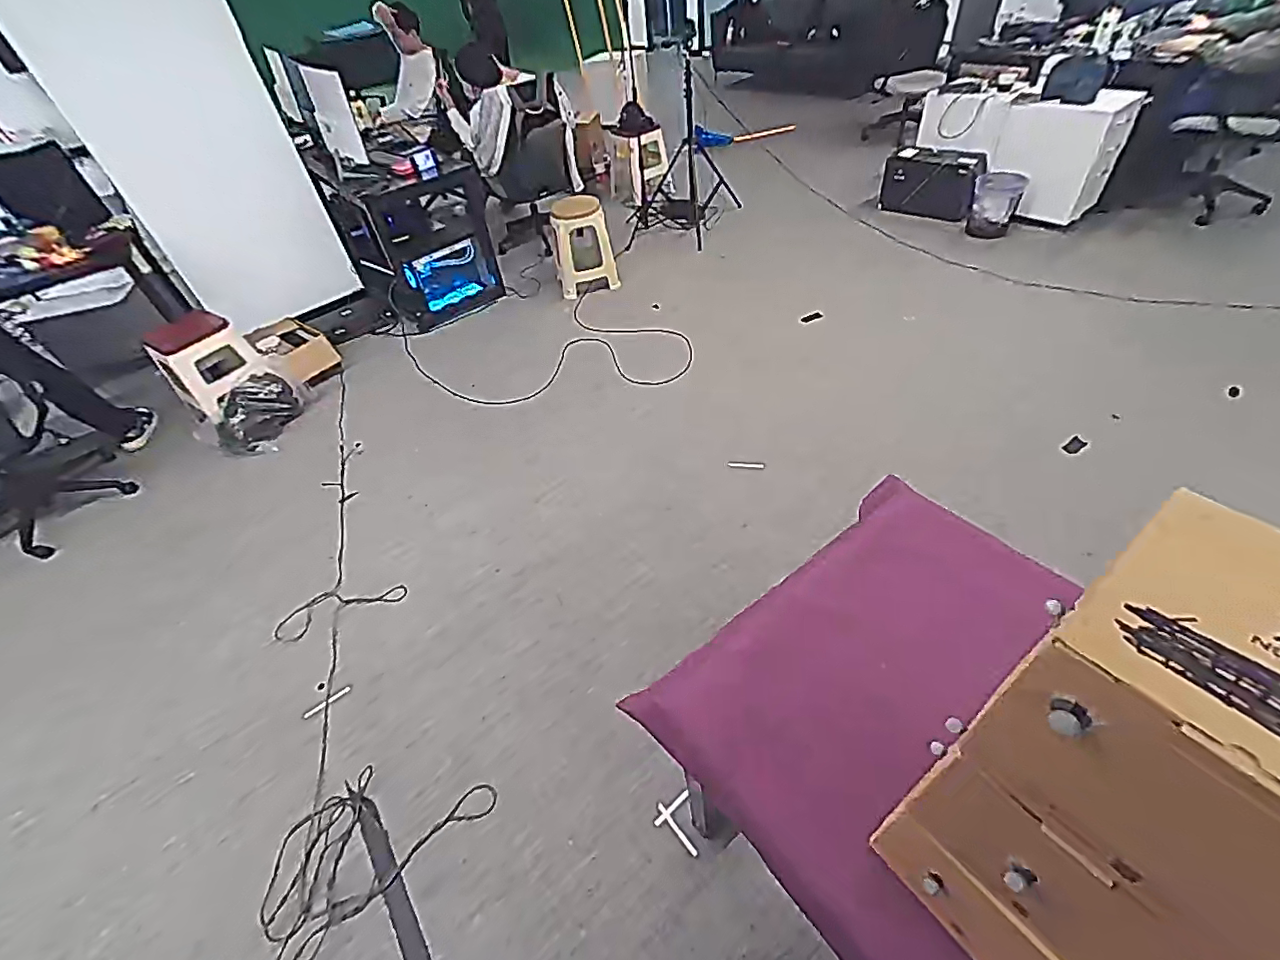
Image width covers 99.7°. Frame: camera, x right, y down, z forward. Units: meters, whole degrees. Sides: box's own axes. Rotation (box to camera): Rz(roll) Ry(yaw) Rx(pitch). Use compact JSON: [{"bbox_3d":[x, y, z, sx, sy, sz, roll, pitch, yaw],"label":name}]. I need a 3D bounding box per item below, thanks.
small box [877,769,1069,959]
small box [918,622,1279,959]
[{"bbox_3d":[0.379,0.384,0.576,0.179,0.176,0.168,-31,50,-22],"label":"small box"},{"bbox_3d":[0.367,0.266,0.462,0.179,0.176,0.168,-33,51,-23],"label":"small box"}]
